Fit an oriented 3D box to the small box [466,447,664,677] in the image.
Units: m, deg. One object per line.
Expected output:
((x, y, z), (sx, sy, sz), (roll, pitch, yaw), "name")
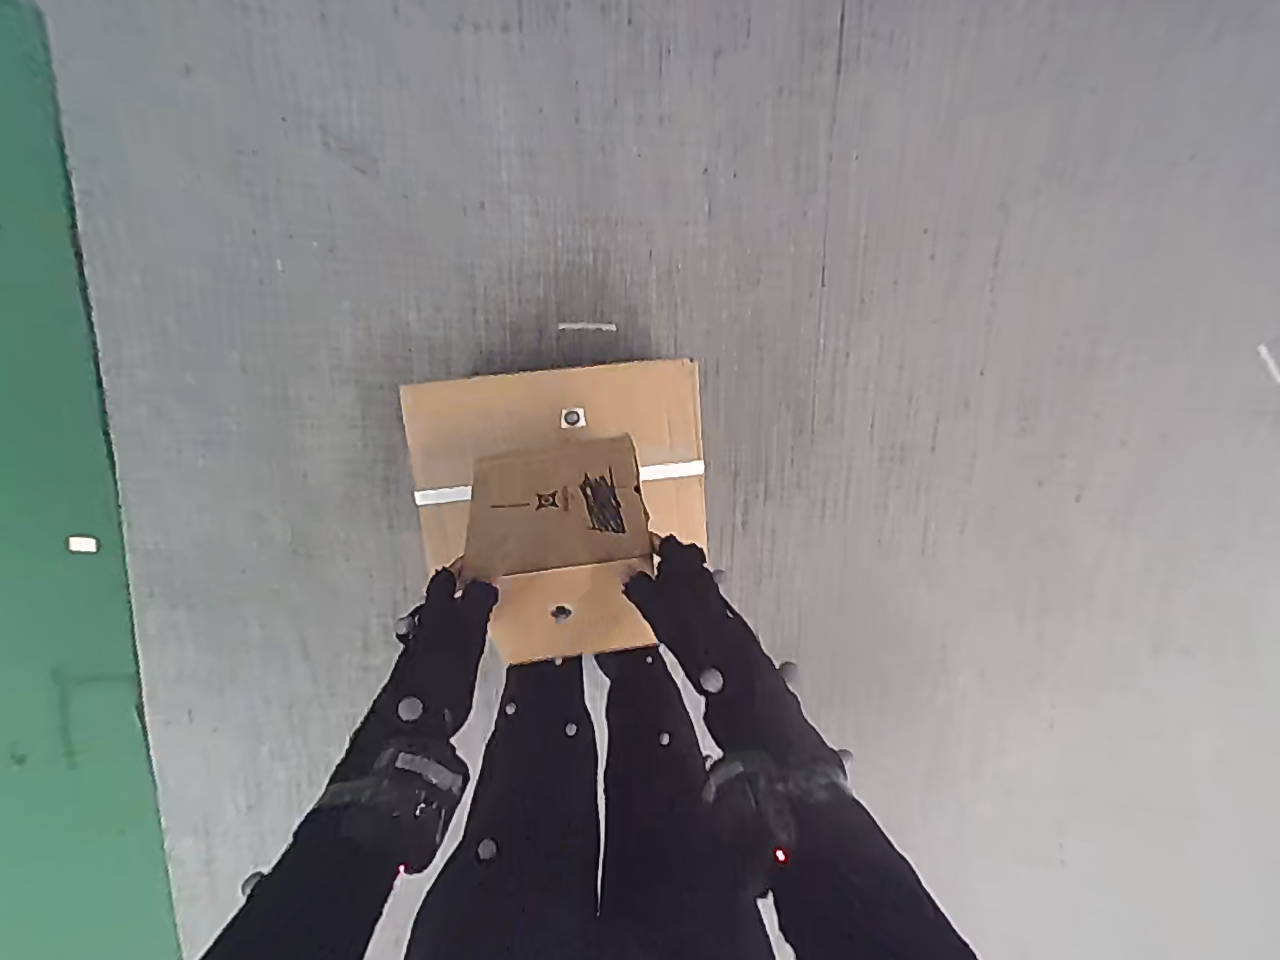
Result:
((-0.074, 0.088, 0.582), (0.179, 0.168, 0.176), (-8, 134, -5), "small box")
